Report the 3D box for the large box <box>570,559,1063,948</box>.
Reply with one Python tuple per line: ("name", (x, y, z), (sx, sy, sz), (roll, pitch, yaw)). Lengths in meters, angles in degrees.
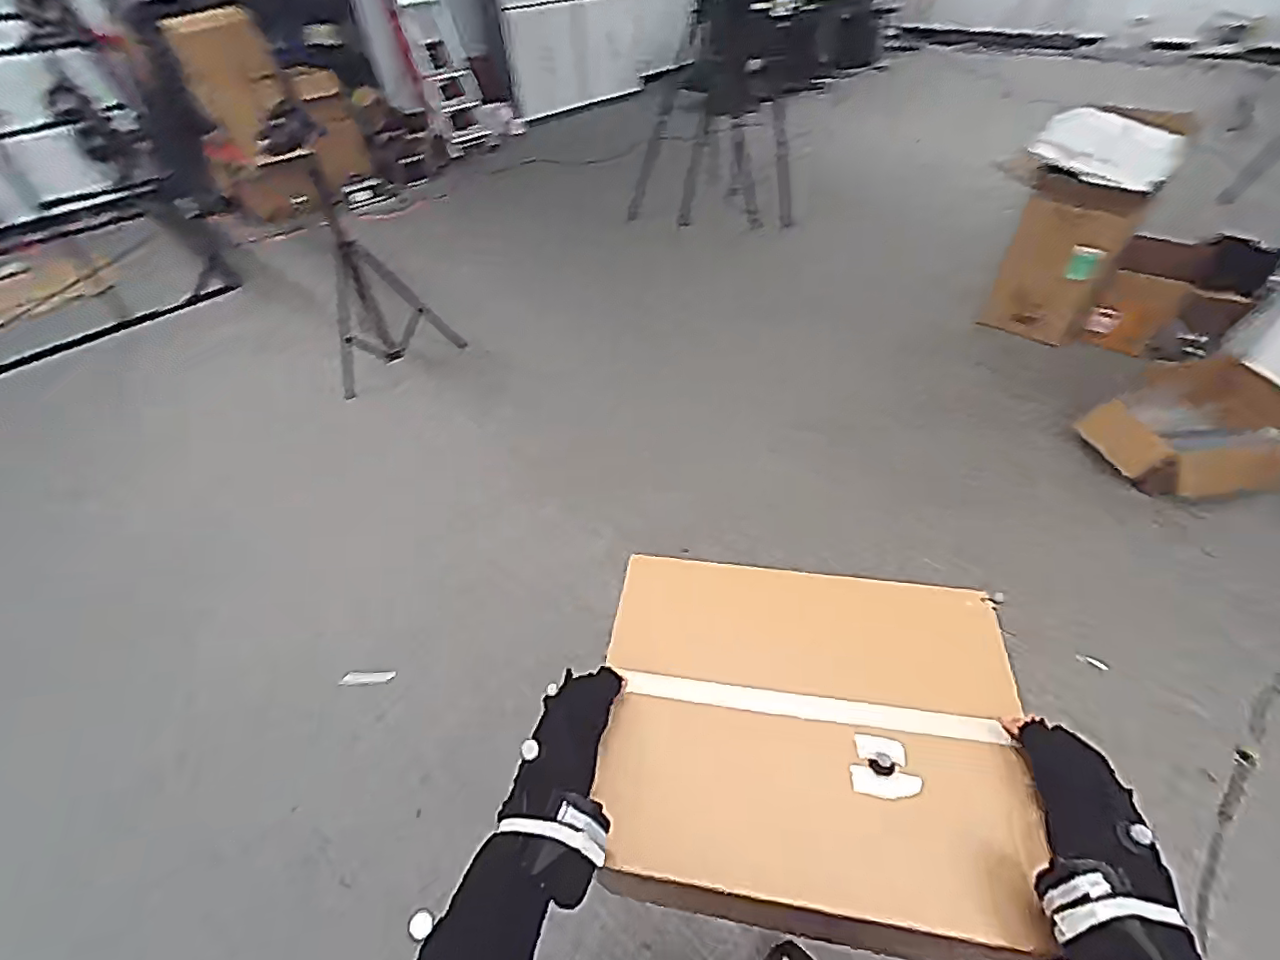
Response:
("large box", (0.160, 0.322, 0.648), (0.408, 0.320, 0.320), (5, 49, 9))
